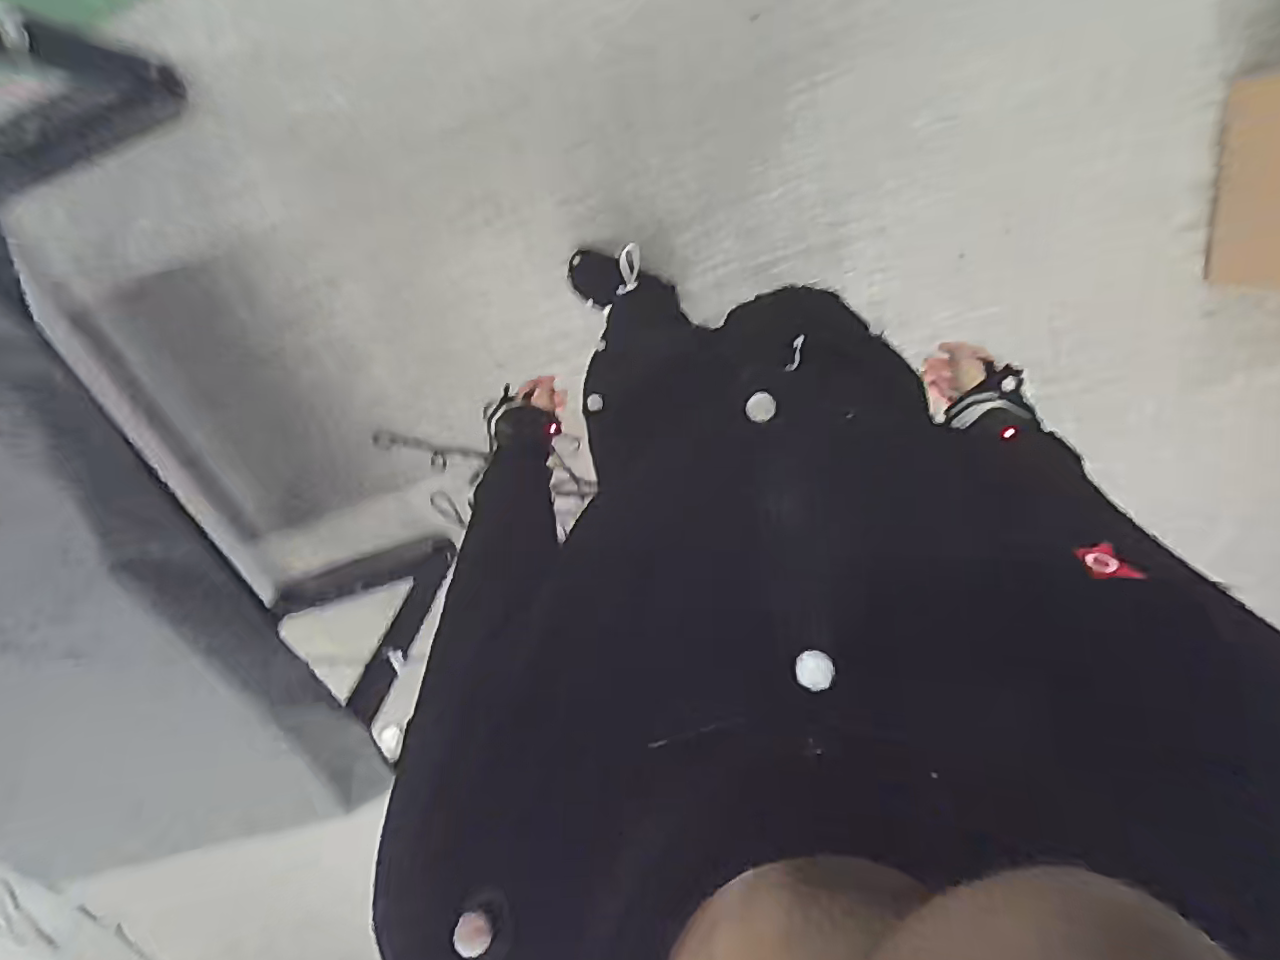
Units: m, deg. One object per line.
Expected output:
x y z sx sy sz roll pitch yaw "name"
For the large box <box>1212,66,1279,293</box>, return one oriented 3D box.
1.360 -0.589 0.985 0.320 0.320 0.408 -18 116 9 "large box"
